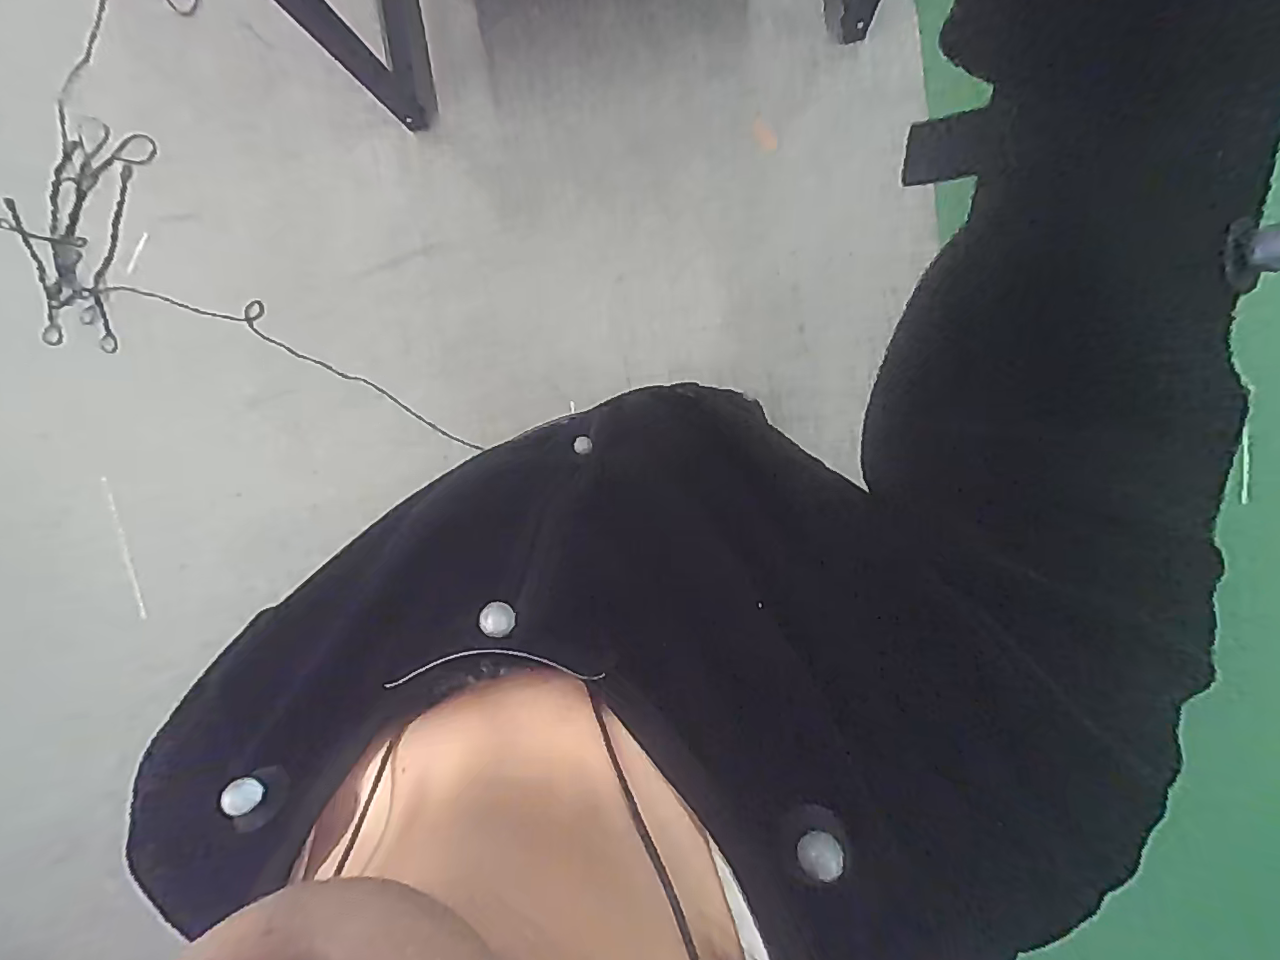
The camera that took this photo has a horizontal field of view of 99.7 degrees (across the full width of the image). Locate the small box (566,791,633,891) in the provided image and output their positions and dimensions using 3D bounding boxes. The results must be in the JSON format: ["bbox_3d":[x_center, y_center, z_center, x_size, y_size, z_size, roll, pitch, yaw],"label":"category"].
[{"bbox_3d":[-0.113,1.028,1.554,0.168,0.176,0.179,-1,98,8],"label":"small box"}]

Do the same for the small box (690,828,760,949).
[{"bbox_3d":[0.208,1.012,1.352,0.168,0.176,0.179,0,97,8],"label":"small box"}]
